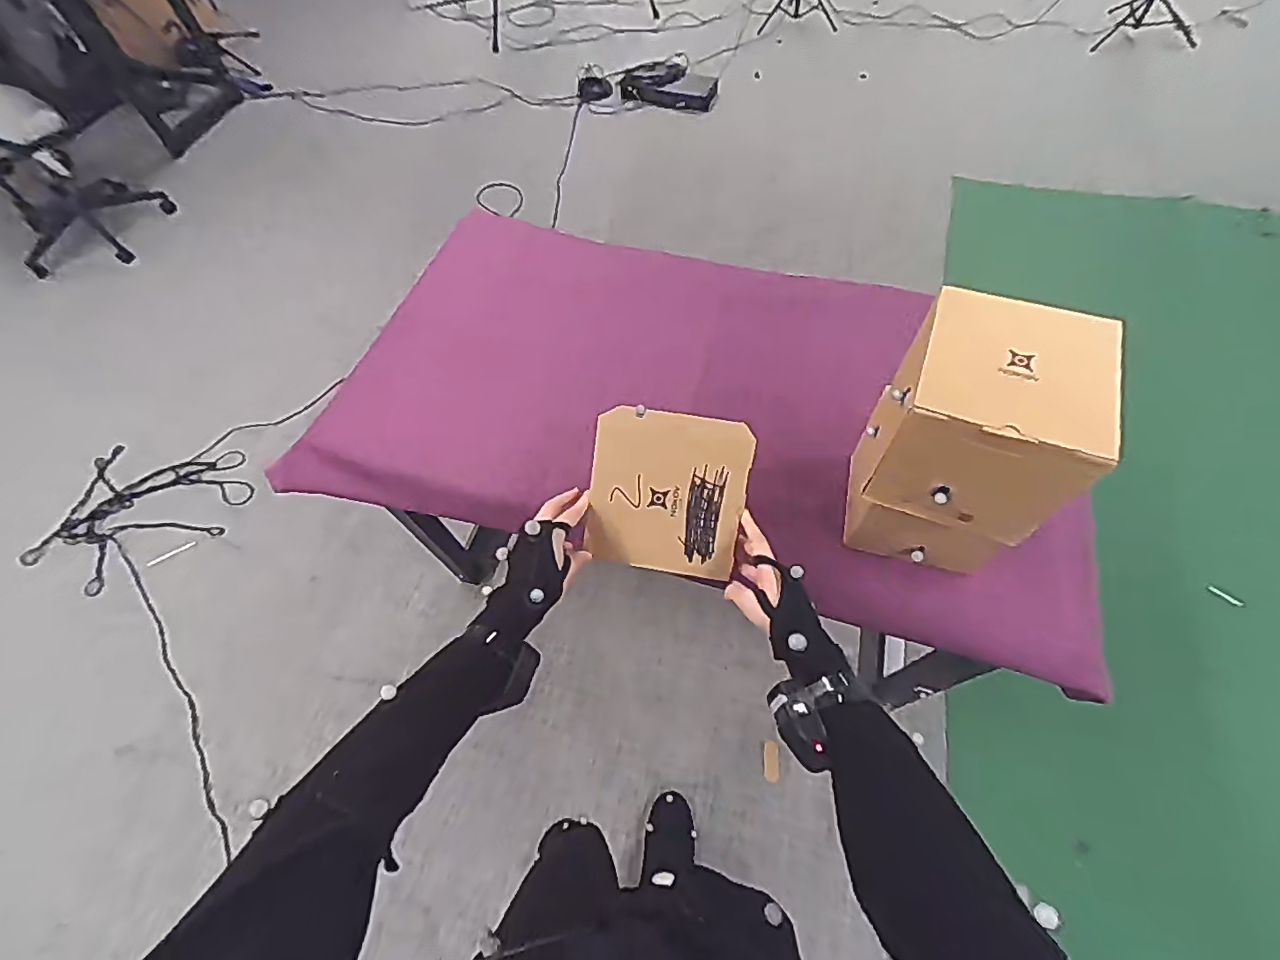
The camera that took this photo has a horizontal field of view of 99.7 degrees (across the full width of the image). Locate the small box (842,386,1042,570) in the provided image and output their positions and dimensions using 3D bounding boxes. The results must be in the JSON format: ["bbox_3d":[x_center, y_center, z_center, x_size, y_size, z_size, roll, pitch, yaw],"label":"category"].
[{"bbox_3d":[0.384,0.003,0.715,0.179,0.176,0.168,12,59,12],"label":"small box"}]

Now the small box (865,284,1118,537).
[{"bbox_3d":[0.354,-0.069,0.570,0.168,0.176,0.179,18,62,16],"label":"small box"}]
